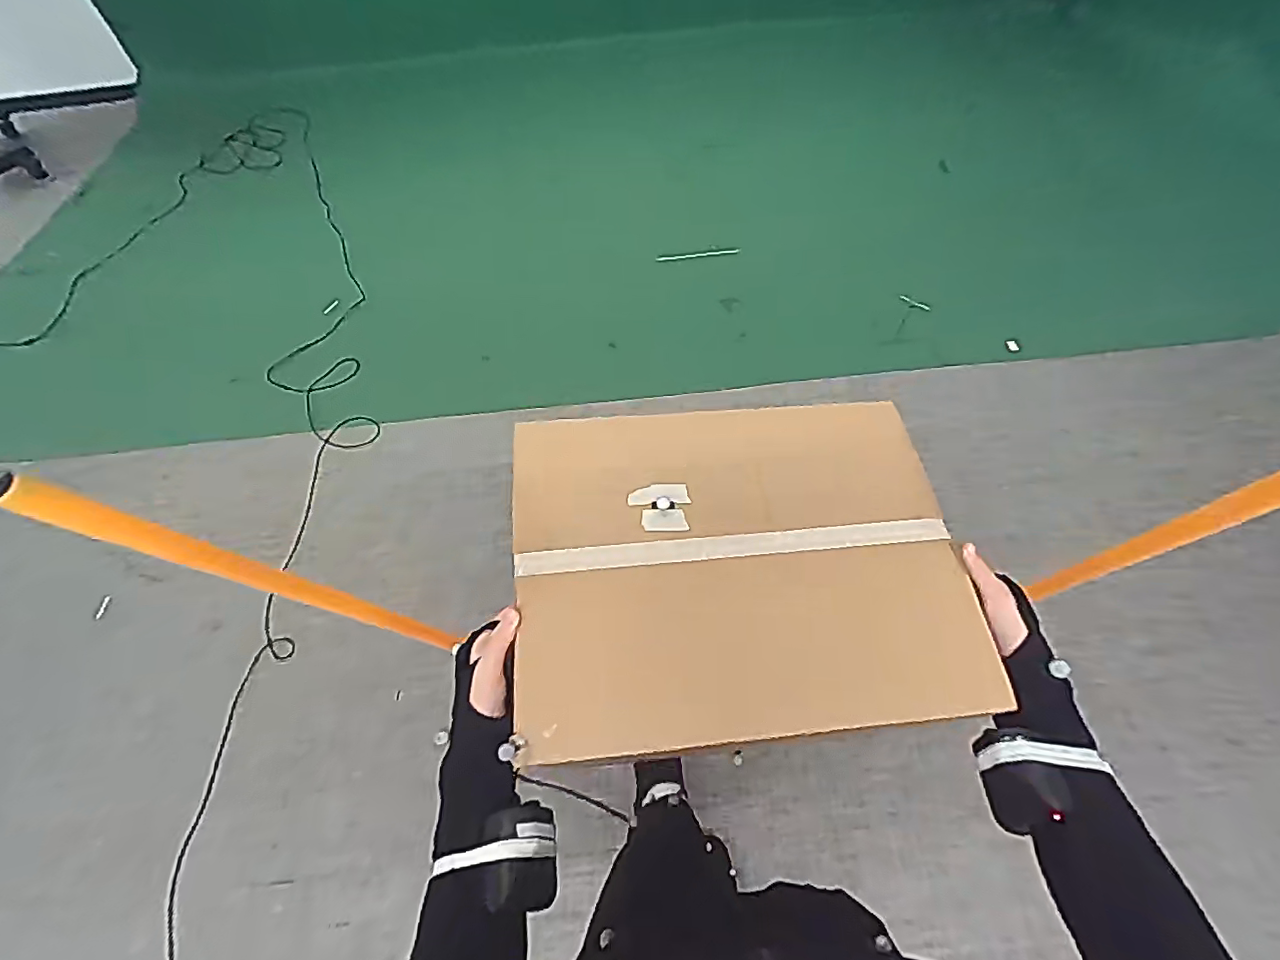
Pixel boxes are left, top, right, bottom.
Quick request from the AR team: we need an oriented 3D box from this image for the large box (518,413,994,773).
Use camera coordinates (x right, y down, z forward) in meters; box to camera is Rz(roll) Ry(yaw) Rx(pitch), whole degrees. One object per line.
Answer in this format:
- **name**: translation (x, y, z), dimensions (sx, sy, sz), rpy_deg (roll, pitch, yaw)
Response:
- **large box**: translation (0.085, 0.147, 0.637), dimensions (0.408, 0.320, 0.320), rpy_deg (-5, 61, -4)
